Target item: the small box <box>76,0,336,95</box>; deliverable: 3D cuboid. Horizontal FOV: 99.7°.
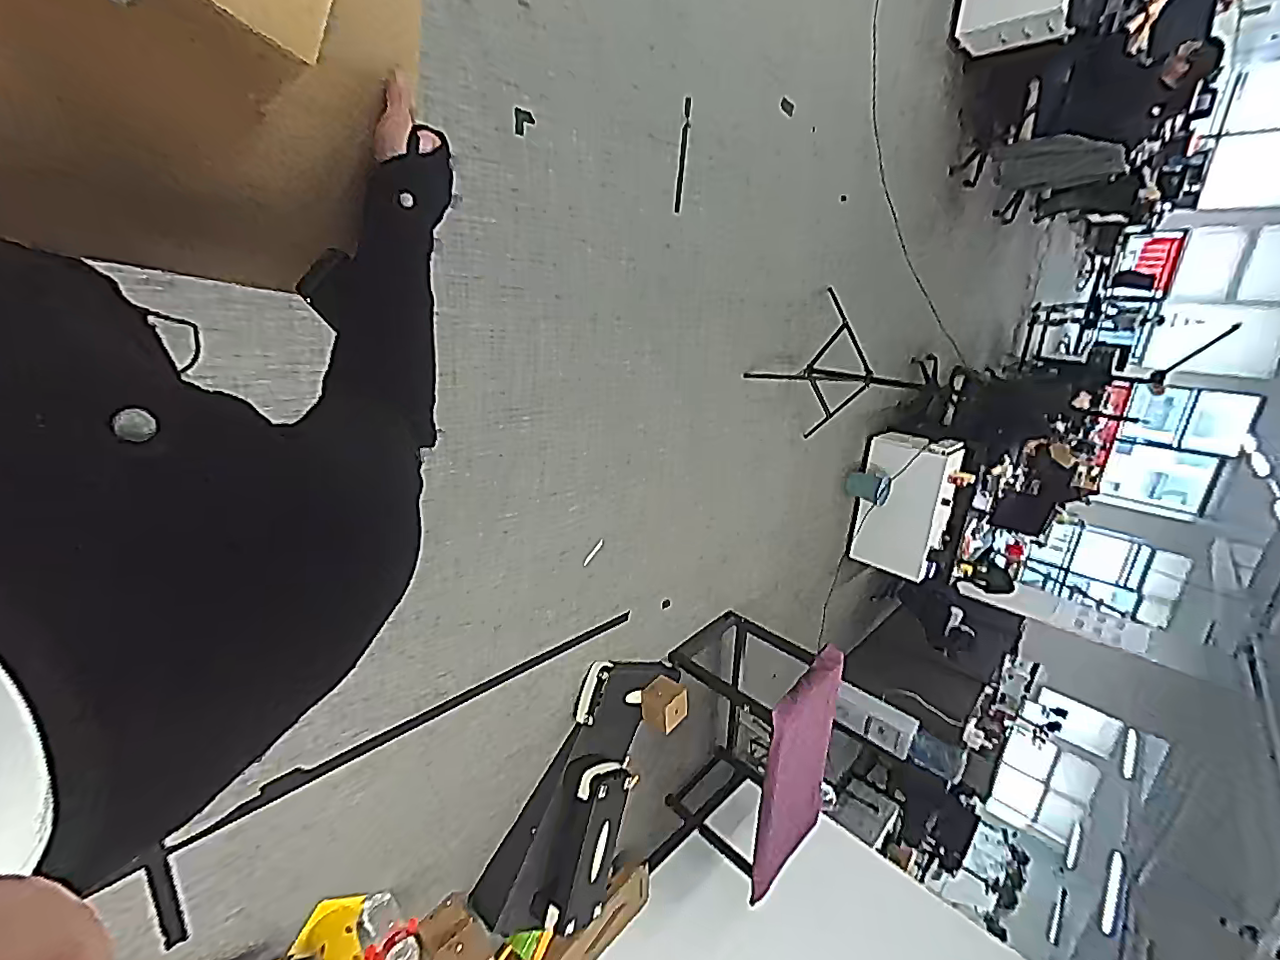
[{"bbox_3d":[-0.307,-0.393,0.355,0.179,0.176,0.168,14,97,-45],"label":"small box"}]
